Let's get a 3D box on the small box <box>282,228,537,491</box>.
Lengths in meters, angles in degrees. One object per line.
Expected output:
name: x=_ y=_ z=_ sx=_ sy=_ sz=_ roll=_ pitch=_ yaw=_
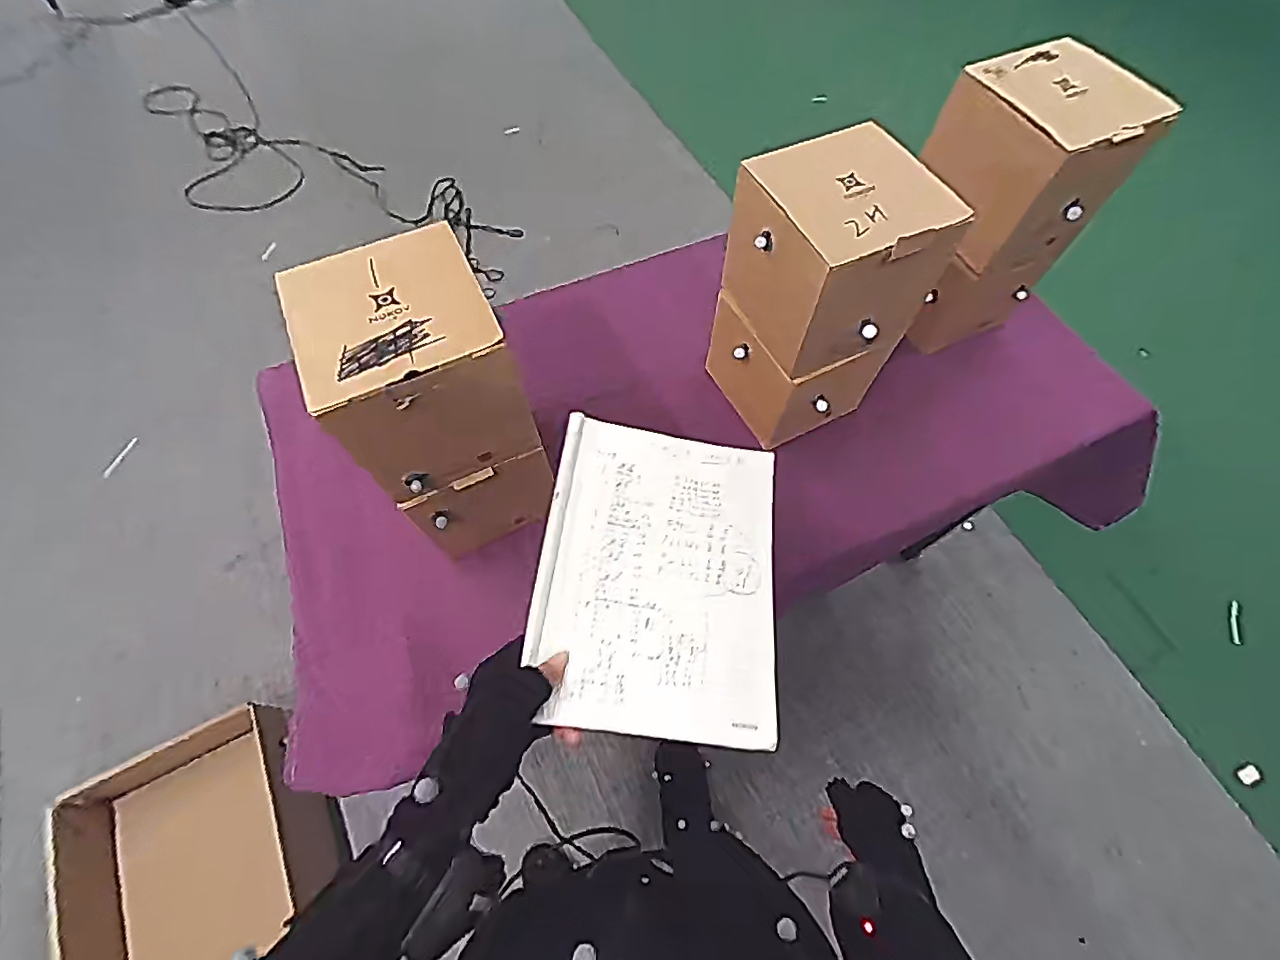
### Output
small box: x=-0.218 y=-0.109 z=0.545 sx=0.168 sy=0.176 sz=0.179 roll=-23 pitch=64 yaw=-11

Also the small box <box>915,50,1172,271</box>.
small box: x=0.482 y=-0.393 z=0.689 sx=0.168 sy=0.176 sz=0.179 roll=-22 pitch=66 yaw=-11

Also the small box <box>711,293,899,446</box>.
small box: x=0.216 y=-0.169 z=0.762 sx=0.168 sy=0.176 sz=0.179 roll=-25 pitch=65 yaw=-11

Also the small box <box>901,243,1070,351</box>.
small box: x=0.487 y=-0.323 z=0.837 sx=0.168 sy=0.176 sz=0.179 roll=-22 pitch=65 yaw=-11

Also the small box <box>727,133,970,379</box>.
small box: x=0.215 y=-0.249 z=0.618 sx=0.168 sy=0.176 sz=0.179 roll=-22 pitch=65 yaw=-10
